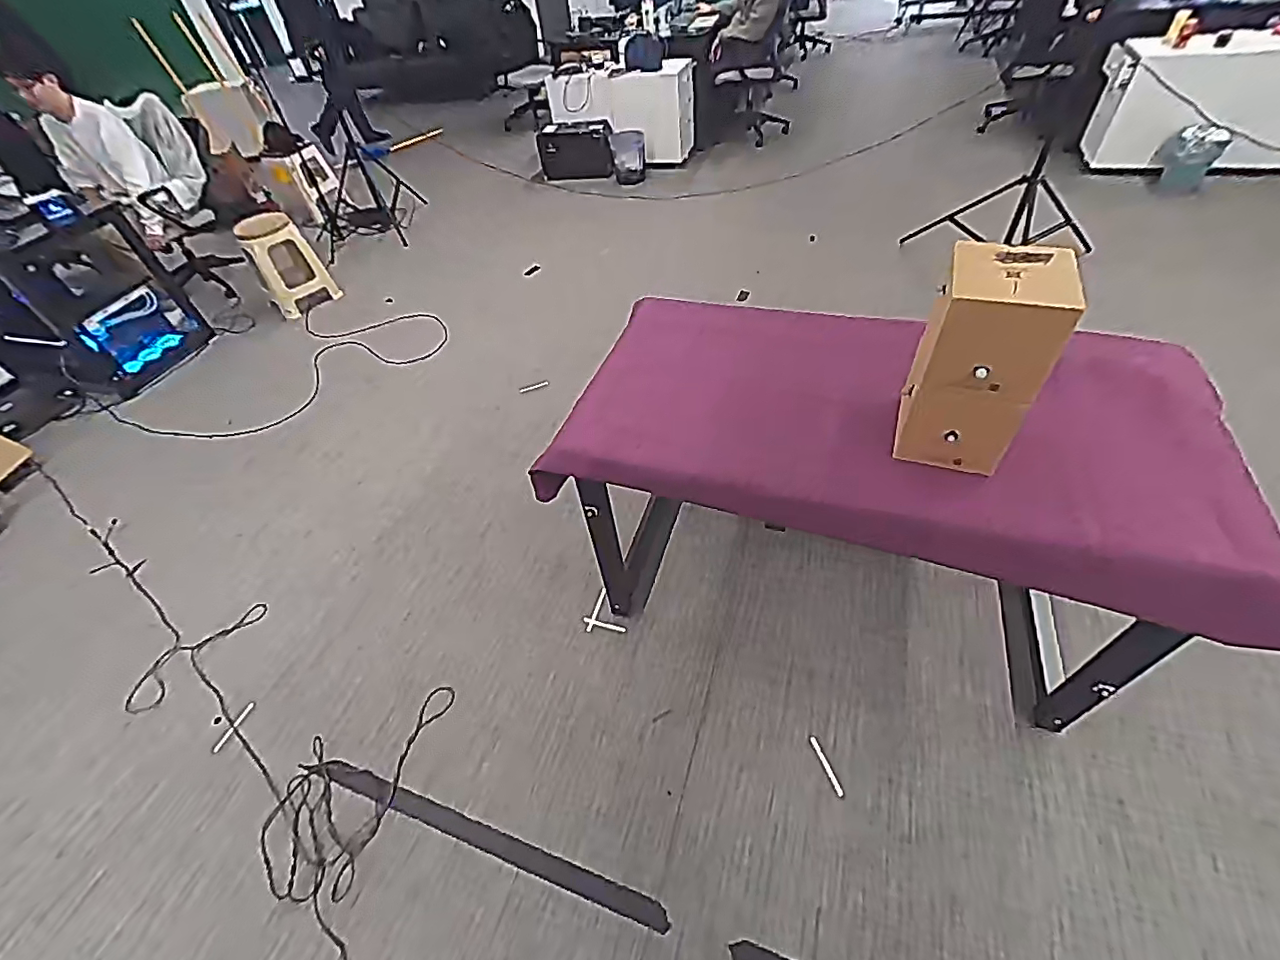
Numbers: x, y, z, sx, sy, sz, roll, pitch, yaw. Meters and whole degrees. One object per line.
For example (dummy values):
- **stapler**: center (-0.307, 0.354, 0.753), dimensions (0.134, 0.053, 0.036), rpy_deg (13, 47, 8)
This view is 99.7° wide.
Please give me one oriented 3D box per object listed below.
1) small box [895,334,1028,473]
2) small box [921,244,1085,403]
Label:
- **small box**: center (0.573, -0.138, 0.980), dimensions (0.168, 0.176, 0.179), rpy_deg (14, 51, 18)
- **small box**: center (0.562, -0.250, 0.860), dimensions (0.168, 0.176, 0.179), rpy_deg (13, 51, 19)
